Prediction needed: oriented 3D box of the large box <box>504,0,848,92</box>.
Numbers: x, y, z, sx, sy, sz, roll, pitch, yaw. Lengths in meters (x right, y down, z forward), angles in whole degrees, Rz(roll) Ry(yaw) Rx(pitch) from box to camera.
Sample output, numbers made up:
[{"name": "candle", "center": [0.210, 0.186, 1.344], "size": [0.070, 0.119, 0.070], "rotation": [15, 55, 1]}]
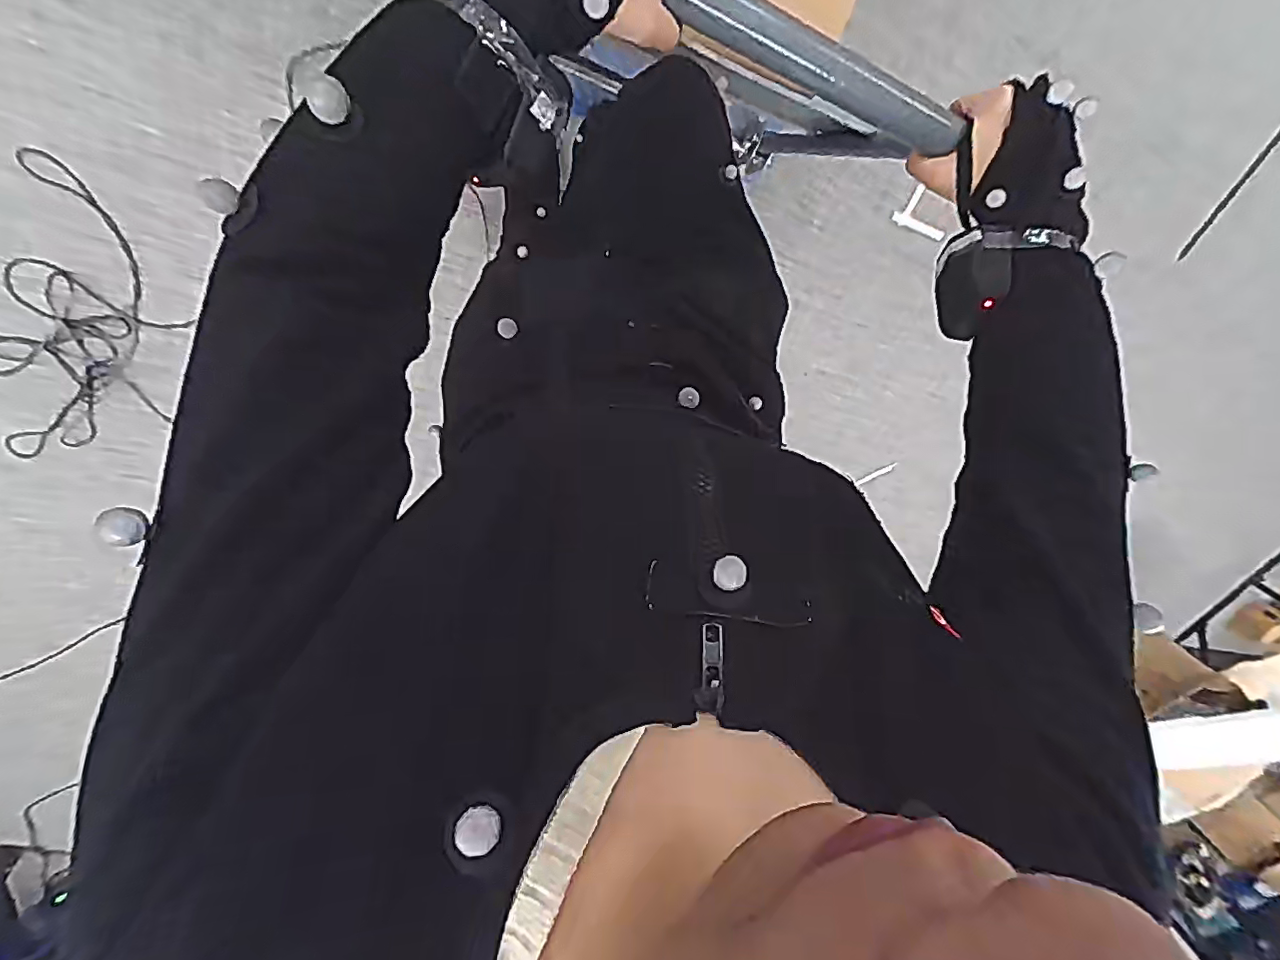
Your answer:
[{"name": "large box", "center": [0.048, -0.736, 0.676], "size": [0.408, 0.320, 0.320], "rotation": [7, 122, -23]}]
